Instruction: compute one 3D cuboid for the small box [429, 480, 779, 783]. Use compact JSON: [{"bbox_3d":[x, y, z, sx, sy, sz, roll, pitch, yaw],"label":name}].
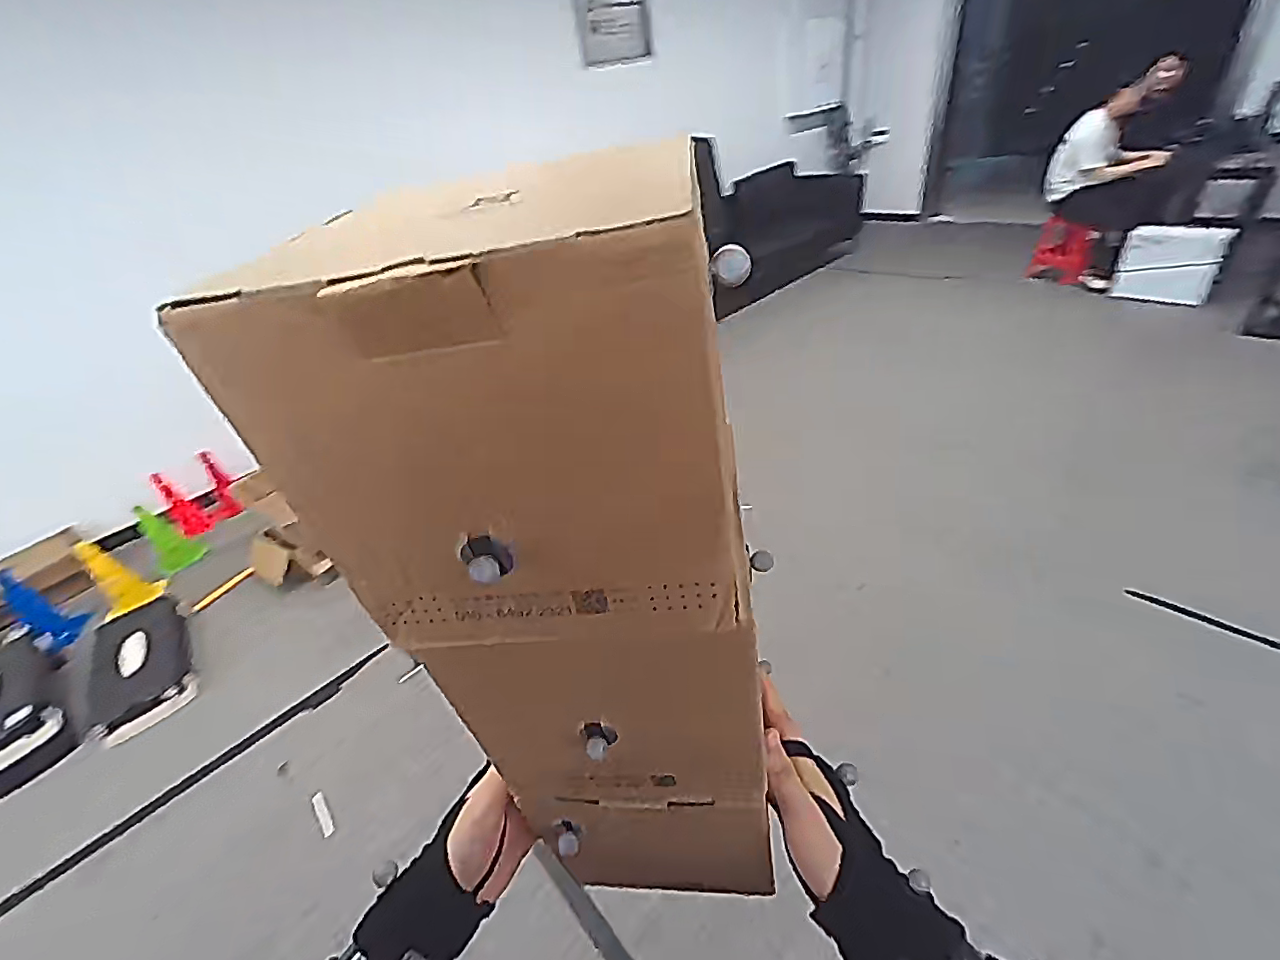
[{"bbox_3d":[-0.002,0.076,0.357,0.168,0.176,0.179,-5,36,10],"label":"small box"}]
